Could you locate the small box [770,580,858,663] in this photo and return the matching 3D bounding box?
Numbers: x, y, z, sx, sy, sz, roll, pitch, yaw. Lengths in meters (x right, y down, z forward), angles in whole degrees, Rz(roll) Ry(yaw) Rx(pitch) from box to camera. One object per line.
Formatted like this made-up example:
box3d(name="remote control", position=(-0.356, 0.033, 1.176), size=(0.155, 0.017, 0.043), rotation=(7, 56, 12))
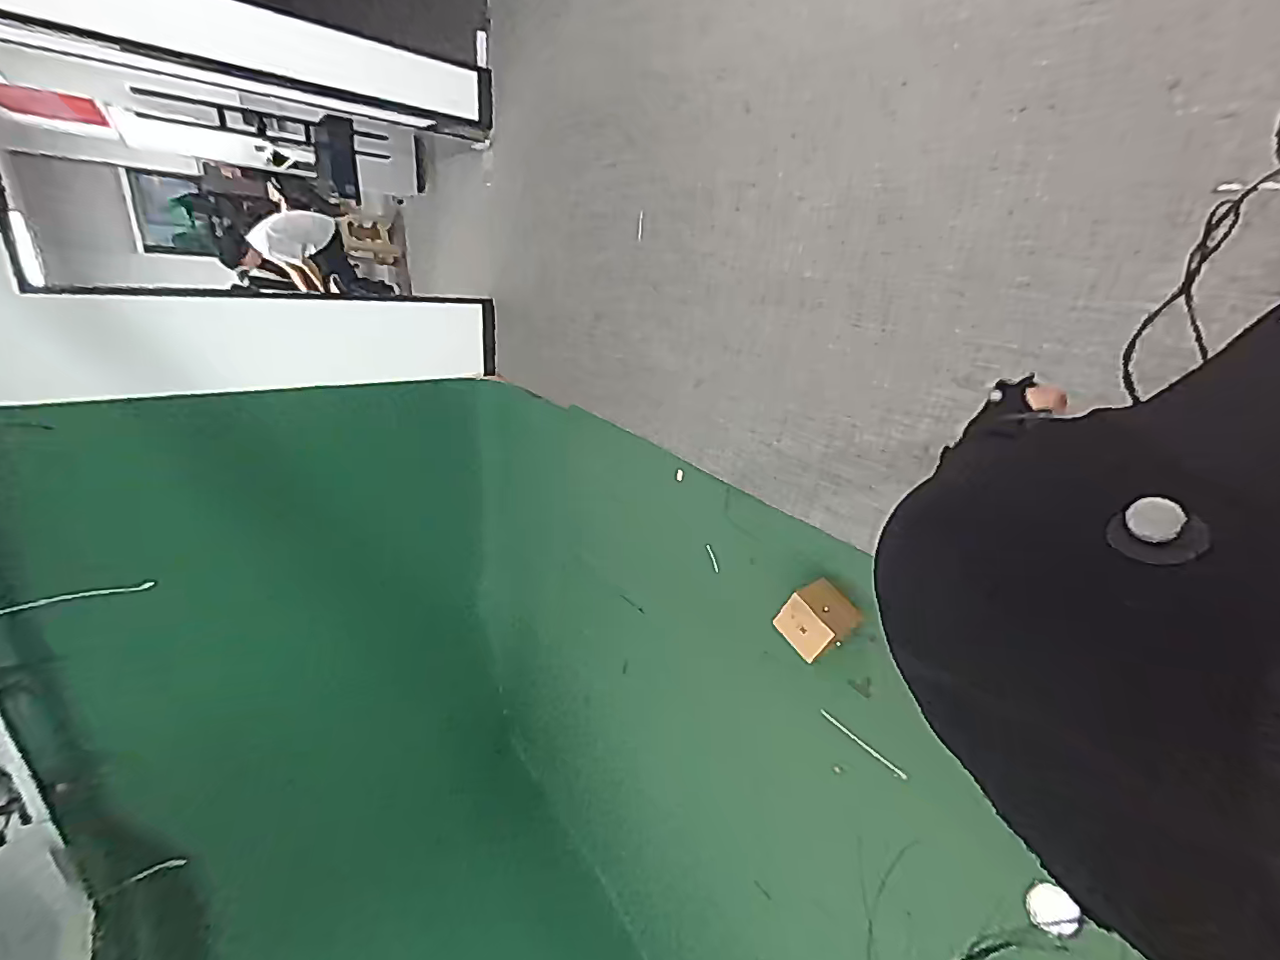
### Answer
box3d(name="small box", position=(0.565, 0.452, 1.752), size=(0.179, 0.176, 0.168), rotation=(50, 134, 33))
